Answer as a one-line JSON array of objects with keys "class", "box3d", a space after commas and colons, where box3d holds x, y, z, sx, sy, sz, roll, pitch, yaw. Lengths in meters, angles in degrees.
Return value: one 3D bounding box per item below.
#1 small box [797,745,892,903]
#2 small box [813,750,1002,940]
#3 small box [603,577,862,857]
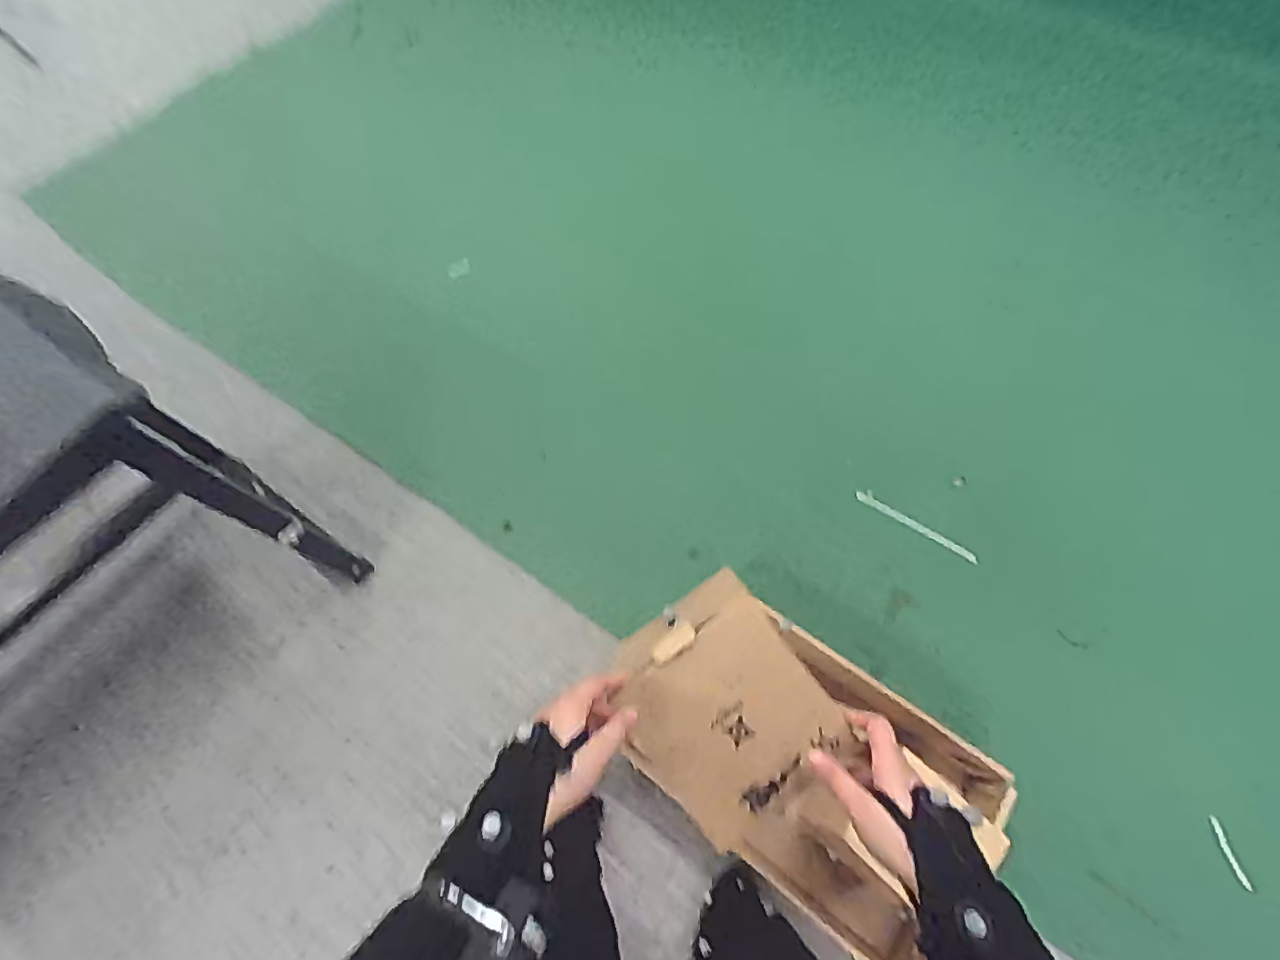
[{"class": "small box", "box3d": [0.414, 0.615, 0.998, 0.168, 0.176, 0.179, 41, 74, 20]}, {"class": "small box", "box3d": [0.404, 0.548, 0.848, 0.179, 0.176, 0.168, 41, 73, 20]}, {"class": "small box", "box3d": [0.082, 0.216, 0.553, 0.168, 0.176, 0.179, -37, 89, 1]}]
